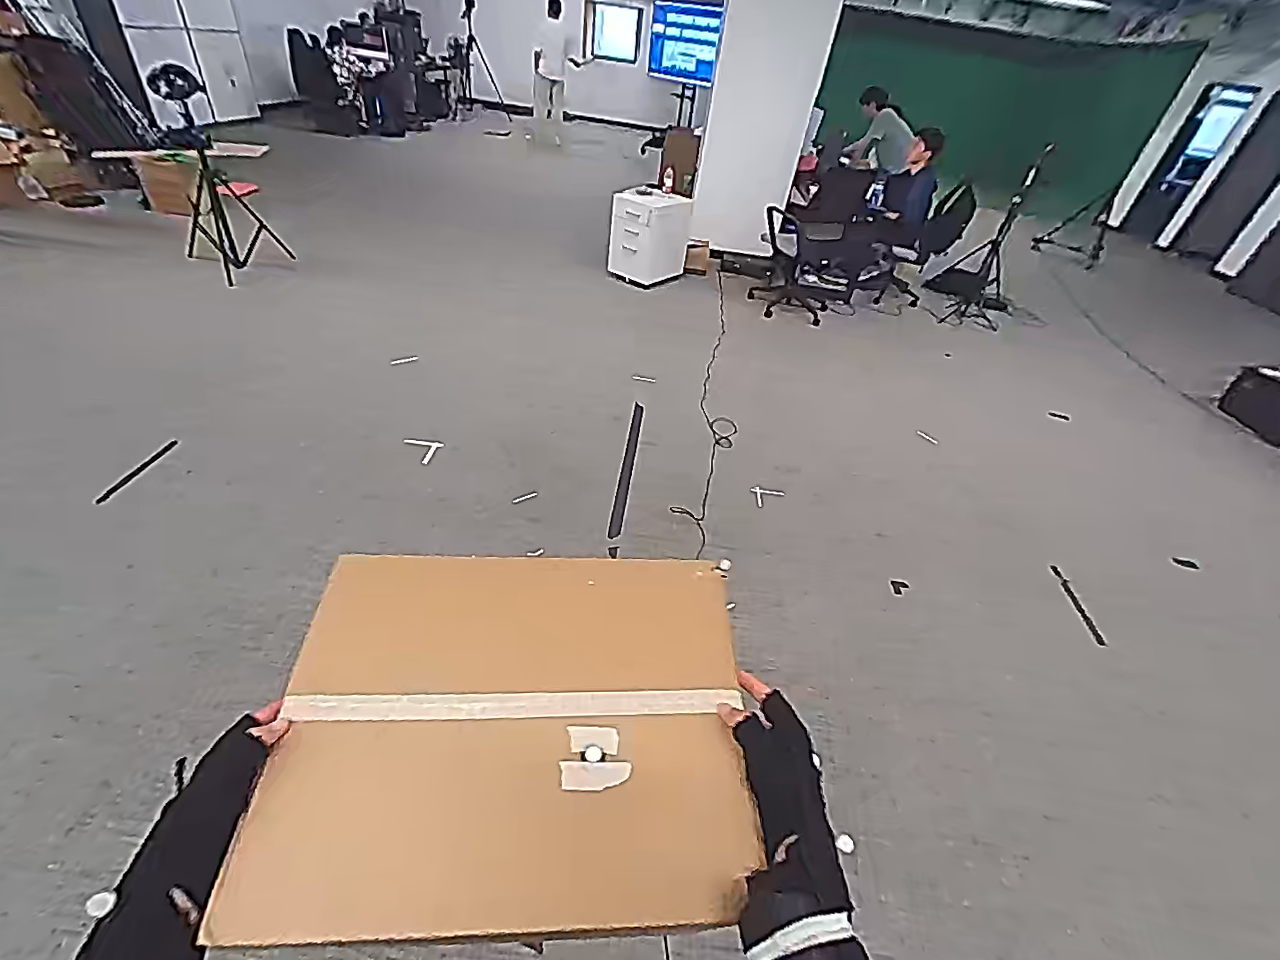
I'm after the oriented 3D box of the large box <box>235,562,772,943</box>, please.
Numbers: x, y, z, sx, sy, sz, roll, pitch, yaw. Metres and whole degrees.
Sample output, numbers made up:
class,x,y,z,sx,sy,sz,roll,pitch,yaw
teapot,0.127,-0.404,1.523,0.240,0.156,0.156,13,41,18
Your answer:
class,x,y,z,sx,sy,sz,roll,pitch,yaw
large box,-0.114,0.308,0.609,0.408,0.320,0.320,3,50,-6
